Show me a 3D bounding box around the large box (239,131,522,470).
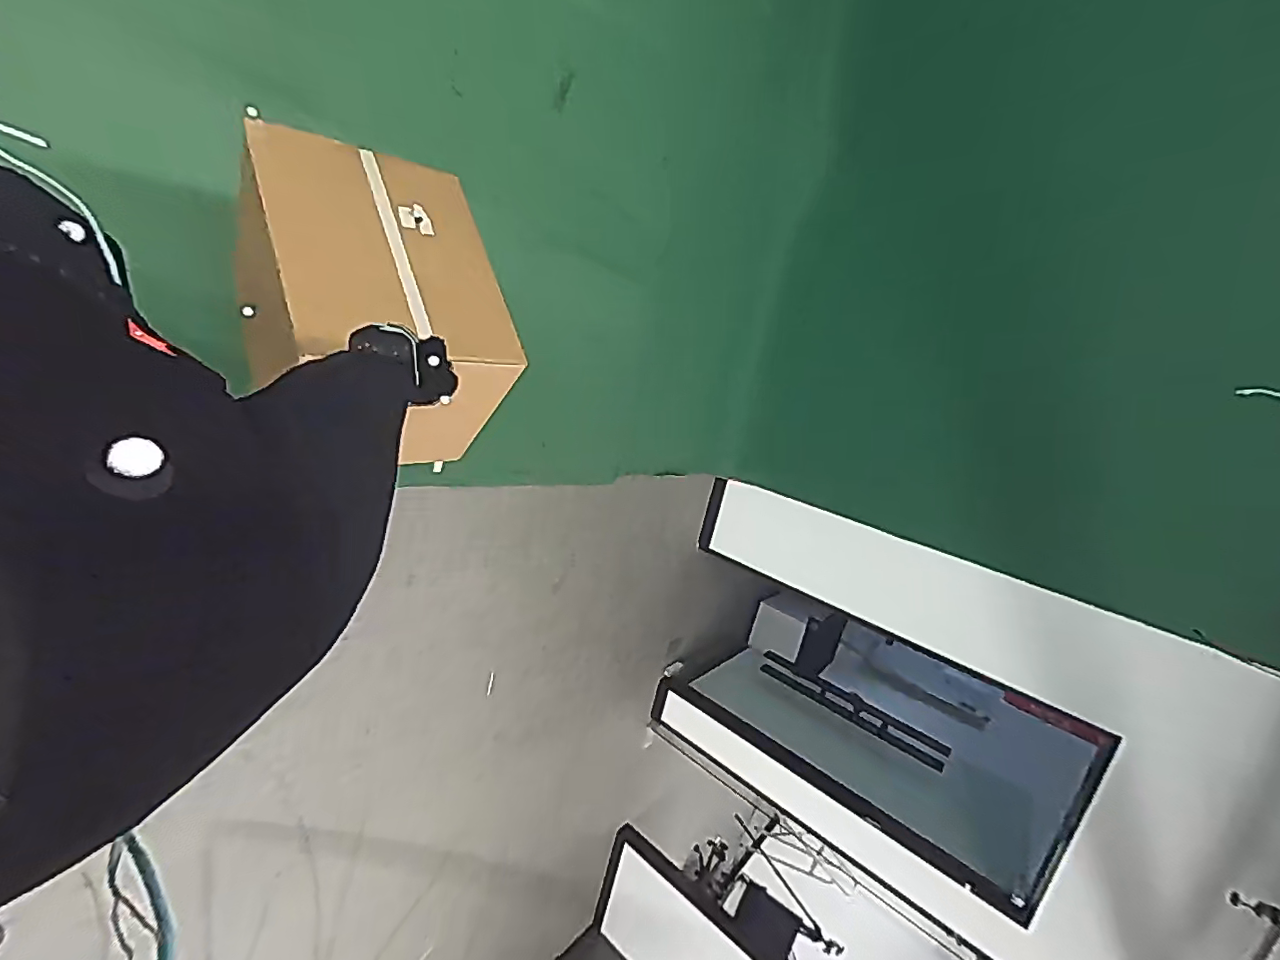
[{"bbox_3d":[-0.456,-0.272,0.917,0.320,0.408,0.320,-8,157,-43],"label":"large box"}]
